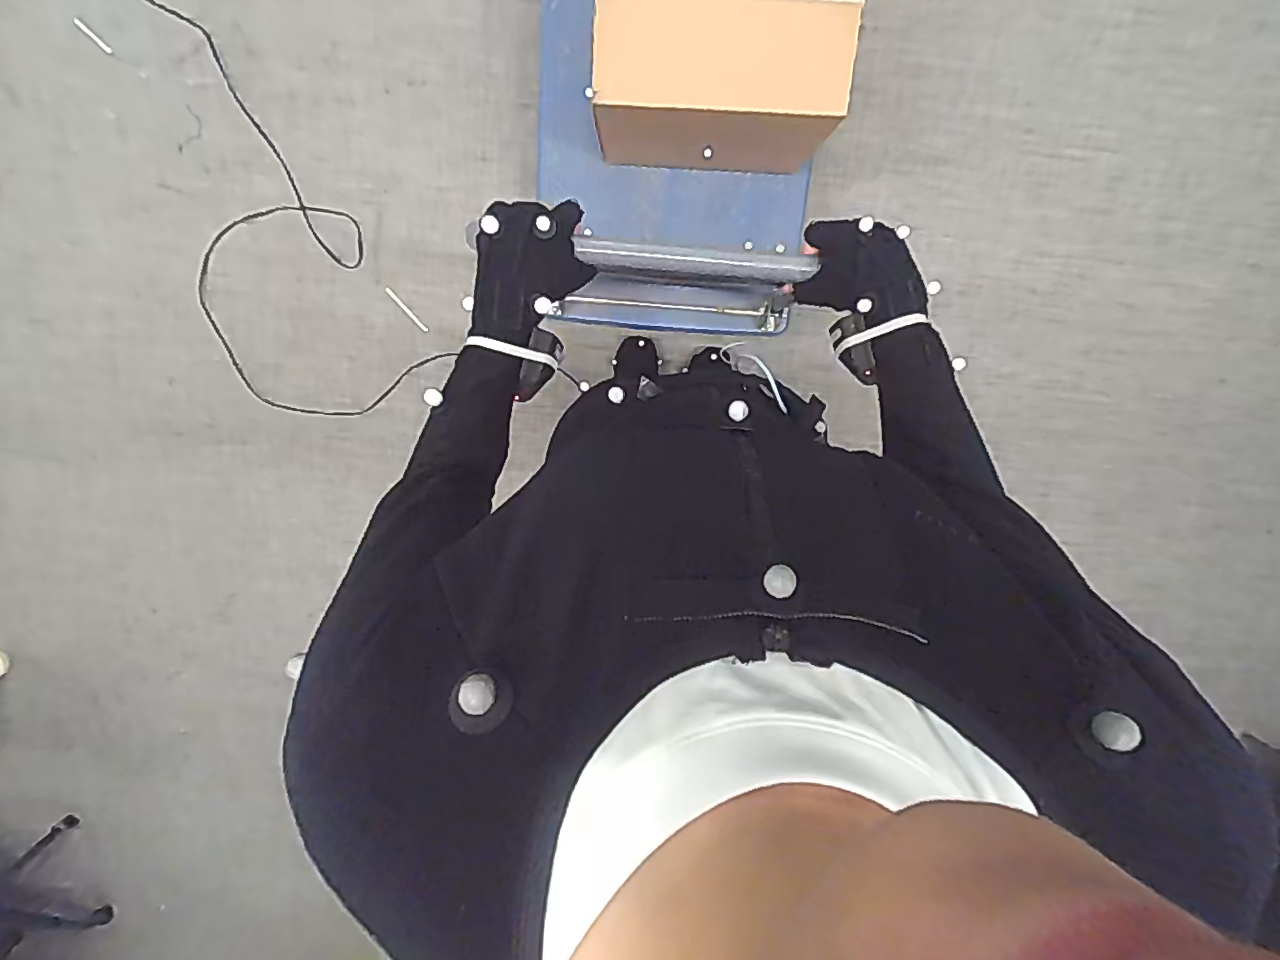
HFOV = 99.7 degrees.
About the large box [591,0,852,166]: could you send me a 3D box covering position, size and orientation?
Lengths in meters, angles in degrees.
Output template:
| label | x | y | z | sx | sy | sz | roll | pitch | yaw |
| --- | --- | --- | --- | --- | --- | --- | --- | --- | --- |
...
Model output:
| label | x | y | z | sx | sy | sz | roll | pitch | yaw |
| --- | --- | --- | --- | --- | --- | --- | --- | --- | --- |
| large box | 0.131 | -0.777 | 0.966 | 0.408 | 0.320 | 0.320 | 3 | 104 | 1 |
